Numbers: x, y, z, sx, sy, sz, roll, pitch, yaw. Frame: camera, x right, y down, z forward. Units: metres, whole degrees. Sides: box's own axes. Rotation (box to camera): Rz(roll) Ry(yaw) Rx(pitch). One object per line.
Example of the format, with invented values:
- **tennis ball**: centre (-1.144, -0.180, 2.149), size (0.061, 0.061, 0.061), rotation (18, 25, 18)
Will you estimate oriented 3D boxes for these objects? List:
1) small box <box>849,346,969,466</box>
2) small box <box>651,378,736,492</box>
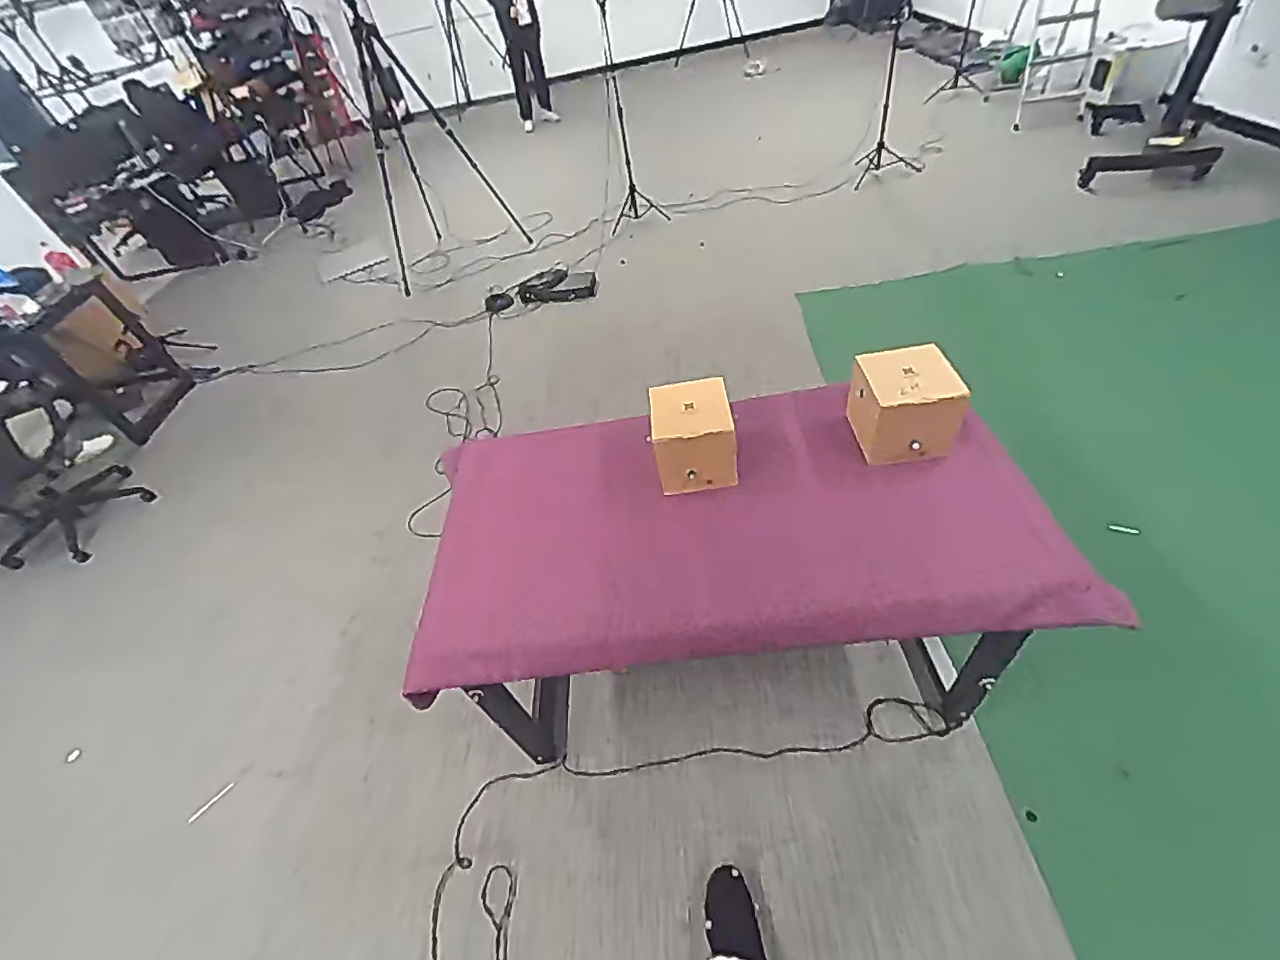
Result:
- **small box**: centre (0.551, -0.154, 1.137), size (0.168, 0.176, 0.179), rotation (-7, 47, 7)
- **small box**: centre (0.116, -0.096, 1.180), size (0.168, 0.176, 0.179), rotation (-7, 48, 5)
